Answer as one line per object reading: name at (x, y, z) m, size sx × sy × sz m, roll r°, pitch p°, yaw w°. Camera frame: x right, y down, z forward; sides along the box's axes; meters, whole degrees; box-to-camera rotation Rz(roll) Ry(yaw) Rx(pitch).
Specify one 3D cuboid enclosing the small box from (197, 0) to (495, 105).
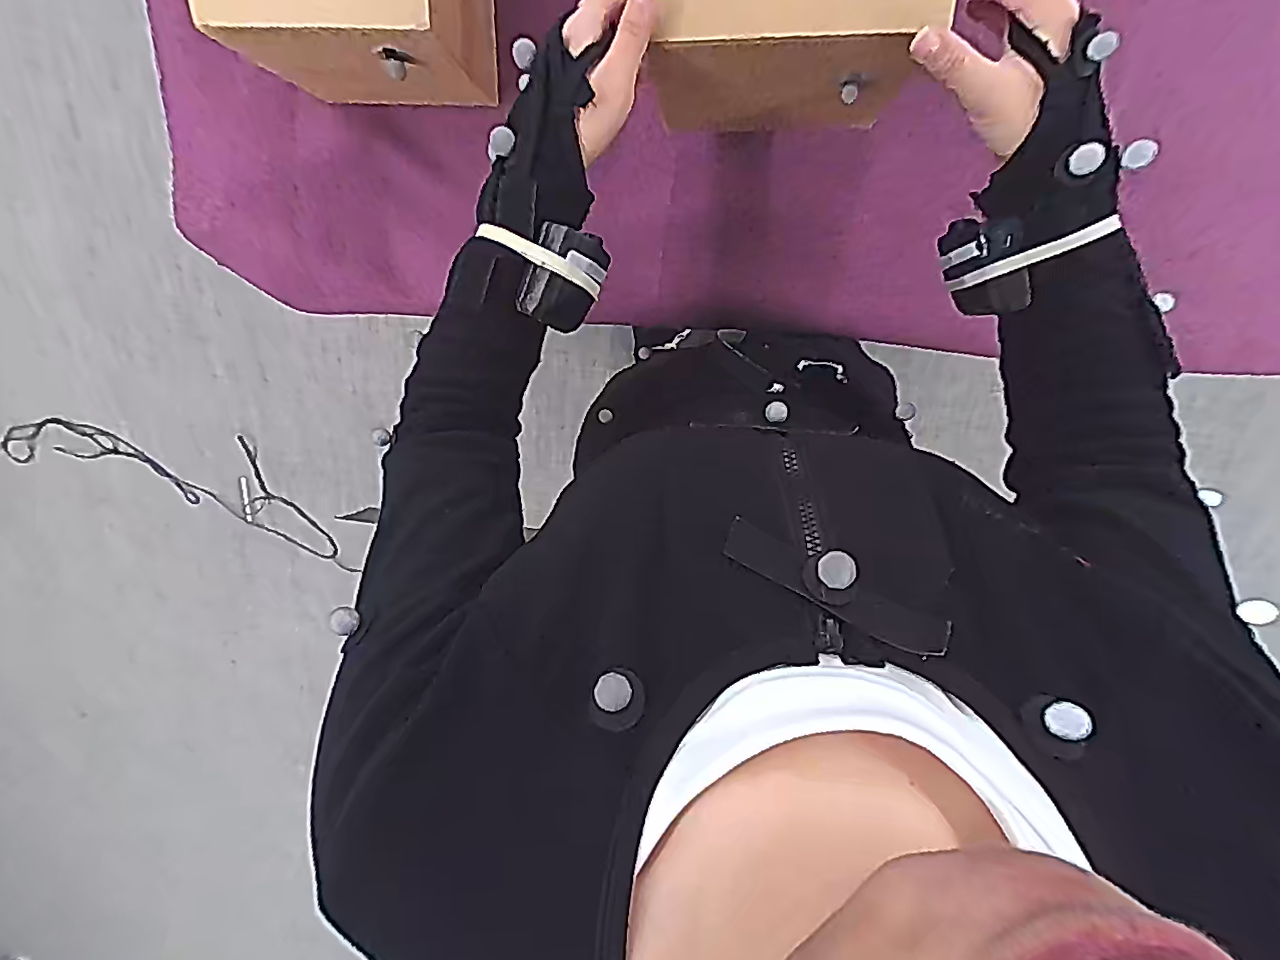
small box at (-0.223, -0.426, 0.436) m, size 0.179 × 0.176 × 0.168 m, roll 3°, pitch 109°, yaw 2°
